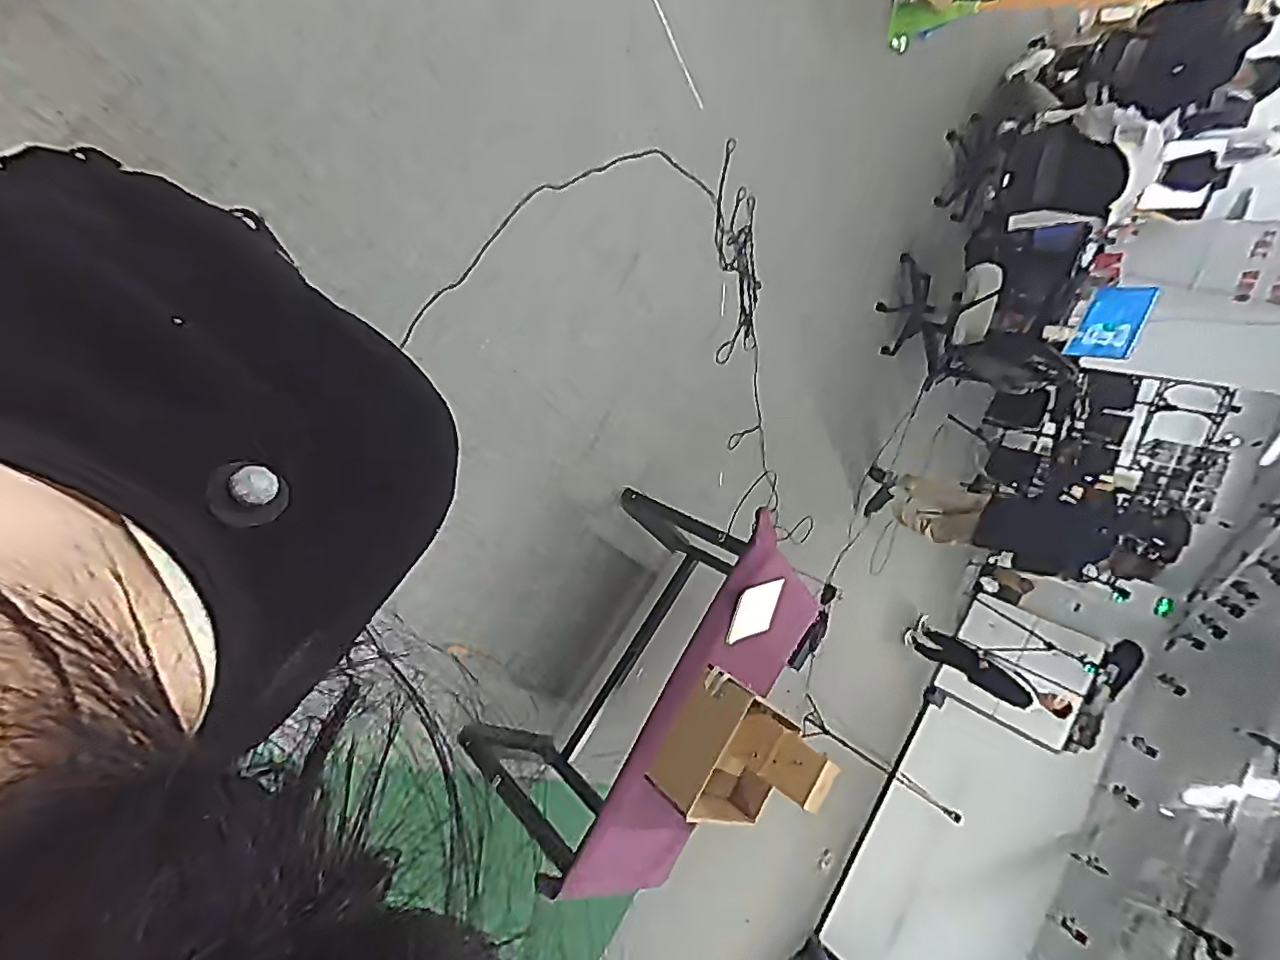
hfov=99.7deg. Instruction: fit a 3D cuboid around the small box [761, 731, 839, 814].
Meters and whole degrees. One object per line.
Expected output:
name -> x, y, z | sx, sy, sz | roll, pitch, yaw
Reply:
small box -> 0.522, 0.953, 1.771 | 0.168, 0.176, 0.179 | -55, 137, -13
